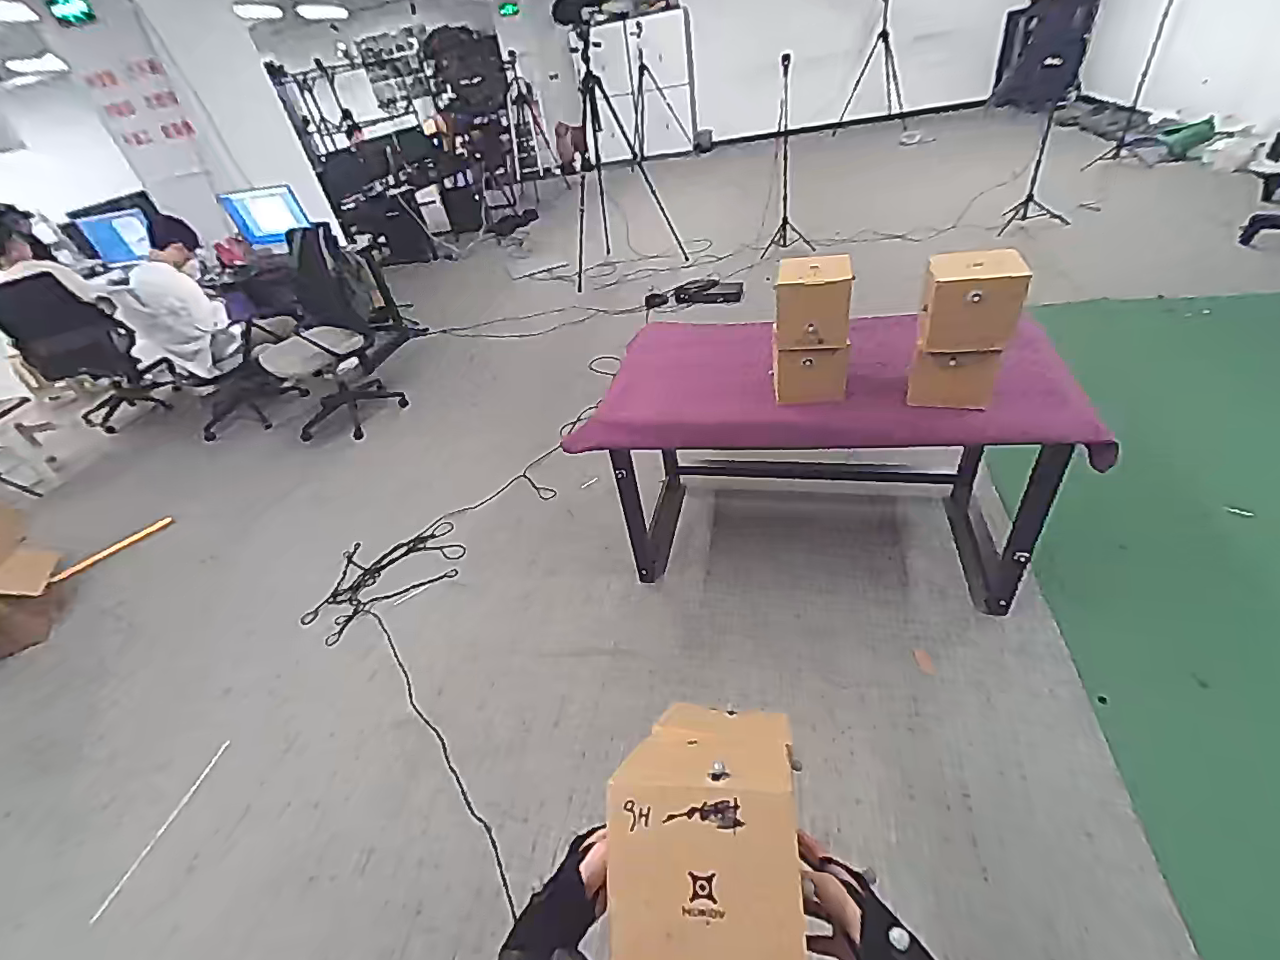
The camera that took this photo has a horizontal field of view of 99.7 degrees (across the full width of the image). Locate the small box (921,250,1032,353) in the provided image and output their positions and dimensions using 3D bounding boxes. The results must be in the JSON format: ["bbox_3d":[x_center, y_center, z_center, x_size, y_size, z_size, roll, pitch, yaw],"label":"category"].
[{"bbox_3d":[0.732,-0.392,1.200,0.179,0.176,0.168,4,40,20],"label":"small box"}]

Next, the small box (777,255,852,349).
[{"bbox_3d":[0.426,-0.435,1.330,0.168,0.176,0.179,2,40,17],"label":"small box"}]

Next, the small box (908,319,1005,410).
[{"bbox_3d":[0.767,-0.284,1.320,0.179,0.176,0.168,7,41,25],"label":"small box"}]

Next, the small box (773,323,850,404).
[{"bbox_3d":[0.450,-0.314,1.438,0.179,0.176,0.168,-2,39,11],"label":"small box"}]
